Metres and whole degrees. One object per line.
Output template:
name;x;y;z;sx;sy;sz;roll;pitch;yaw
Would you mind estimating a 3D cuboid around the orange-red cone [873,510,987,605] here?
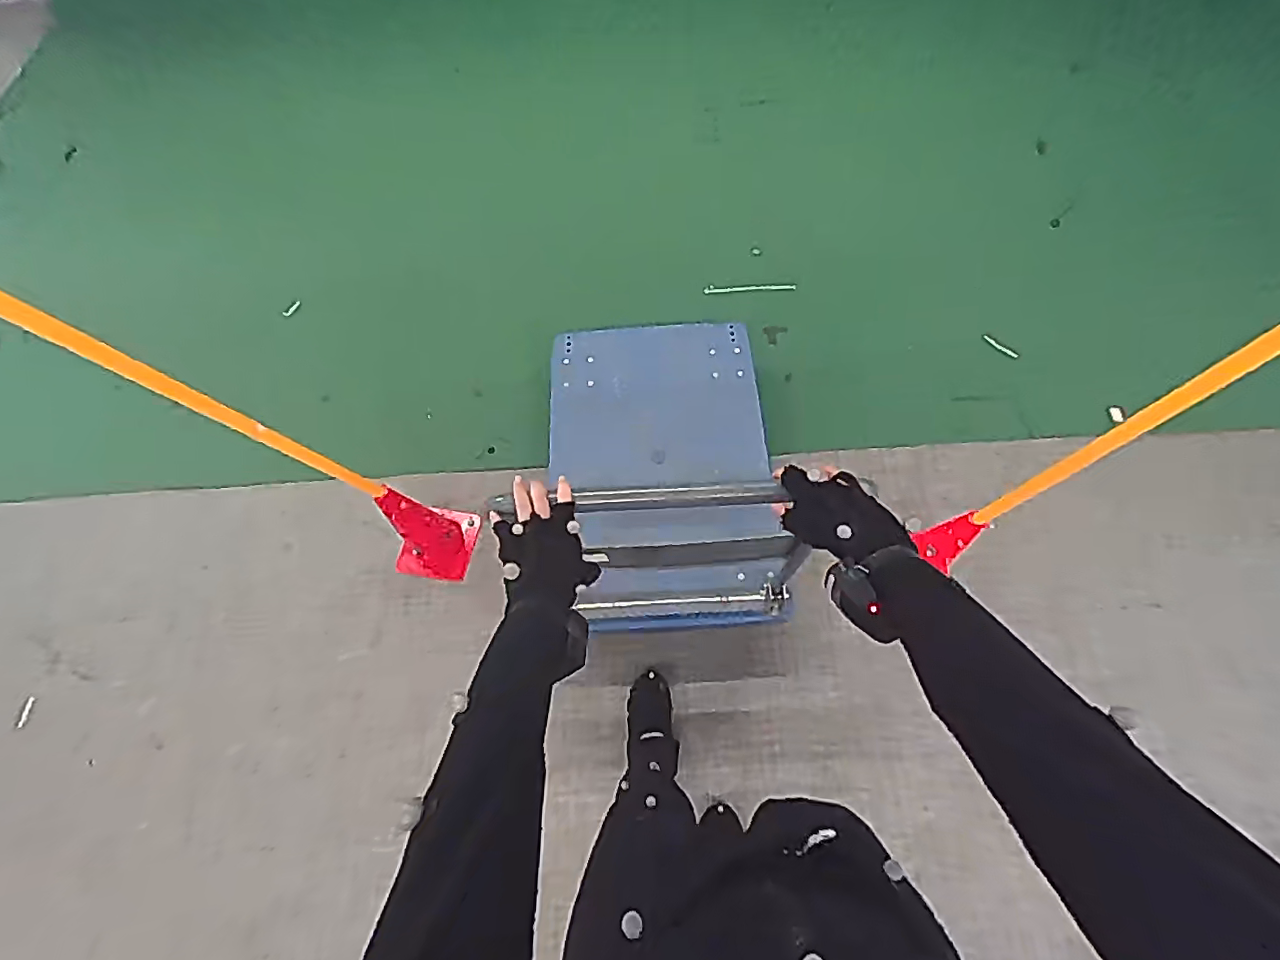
orange-red cone;0.713;0.154;1.282;0.198;0.360;0.199;7;67;7
